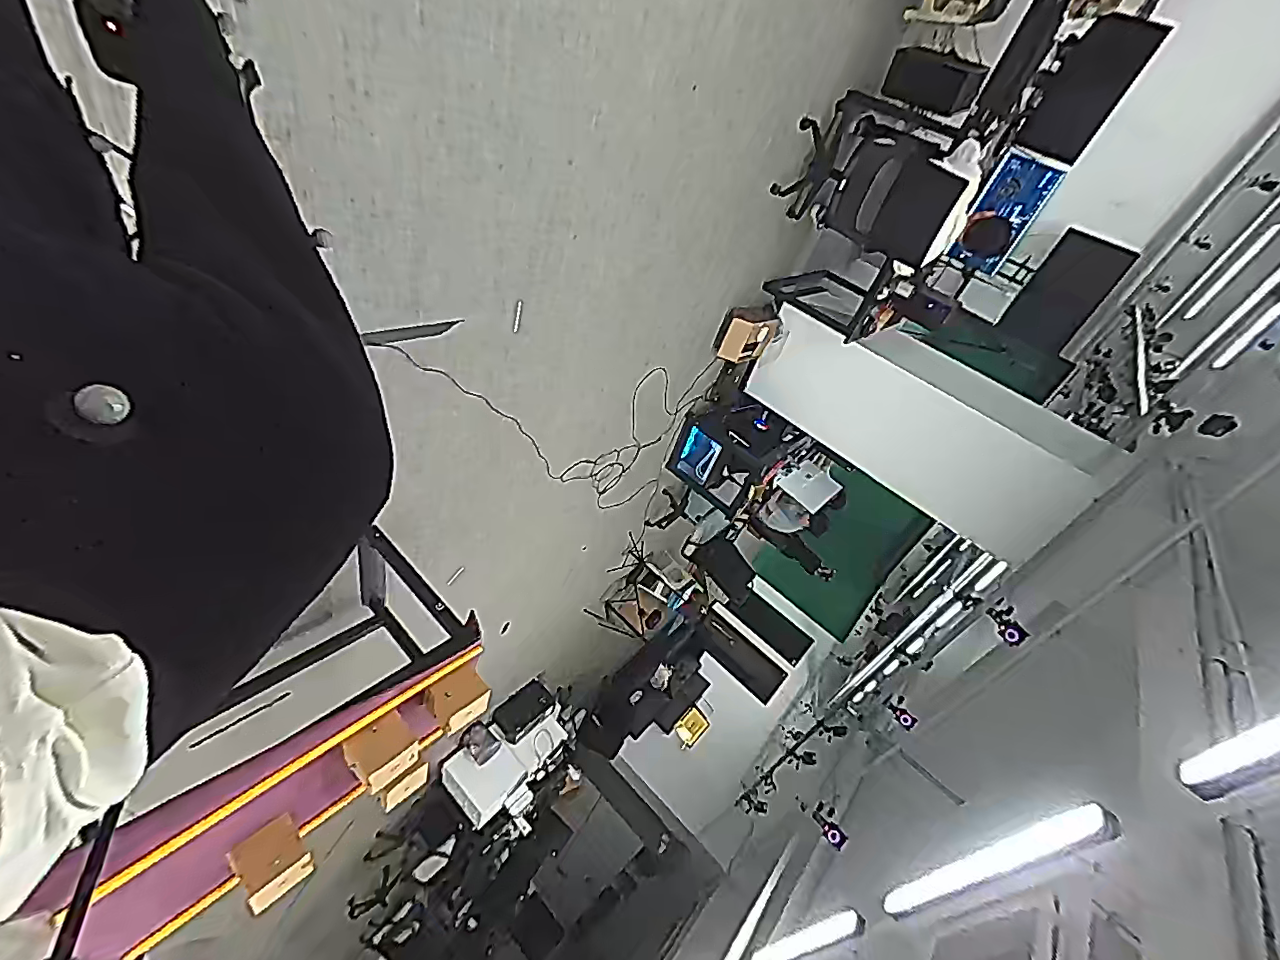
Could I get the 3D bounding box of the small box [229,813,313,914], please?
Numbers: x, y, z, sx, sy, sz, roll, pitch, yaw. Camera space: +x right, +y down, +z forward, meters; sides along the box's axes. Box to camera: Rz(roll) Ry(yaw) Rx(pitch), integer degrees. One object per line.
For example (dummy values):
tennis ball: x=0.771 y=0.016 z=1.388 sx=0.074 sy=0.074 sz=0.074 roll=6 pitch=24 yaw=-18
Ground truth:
small box: x=-1.197 y=1.237 z=1.751 sx=0.179 sy=0.176 sz=0.168 roll=-28 pitch=147 yaw=-46

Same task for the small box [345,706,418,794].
small box: x=-0.887 y=0.920 z=1.851 sx=0.179 sy=0.176 sz=0.168 roll=-28 pitch=149 yaw=-44

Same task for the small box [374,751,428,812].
small box: x=-0.930 y=1.101 z=2.050 sx=0.168 sy=0.176 sz=0.179 roll=-27 pitch=146 yaw=-45

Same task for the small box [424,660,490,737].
small box: x=-0.701 y=0.827 z=2.060 sx=0.179 sy=0.176 sz=0.168 roll=-25 pitch=147 yaw=-43
